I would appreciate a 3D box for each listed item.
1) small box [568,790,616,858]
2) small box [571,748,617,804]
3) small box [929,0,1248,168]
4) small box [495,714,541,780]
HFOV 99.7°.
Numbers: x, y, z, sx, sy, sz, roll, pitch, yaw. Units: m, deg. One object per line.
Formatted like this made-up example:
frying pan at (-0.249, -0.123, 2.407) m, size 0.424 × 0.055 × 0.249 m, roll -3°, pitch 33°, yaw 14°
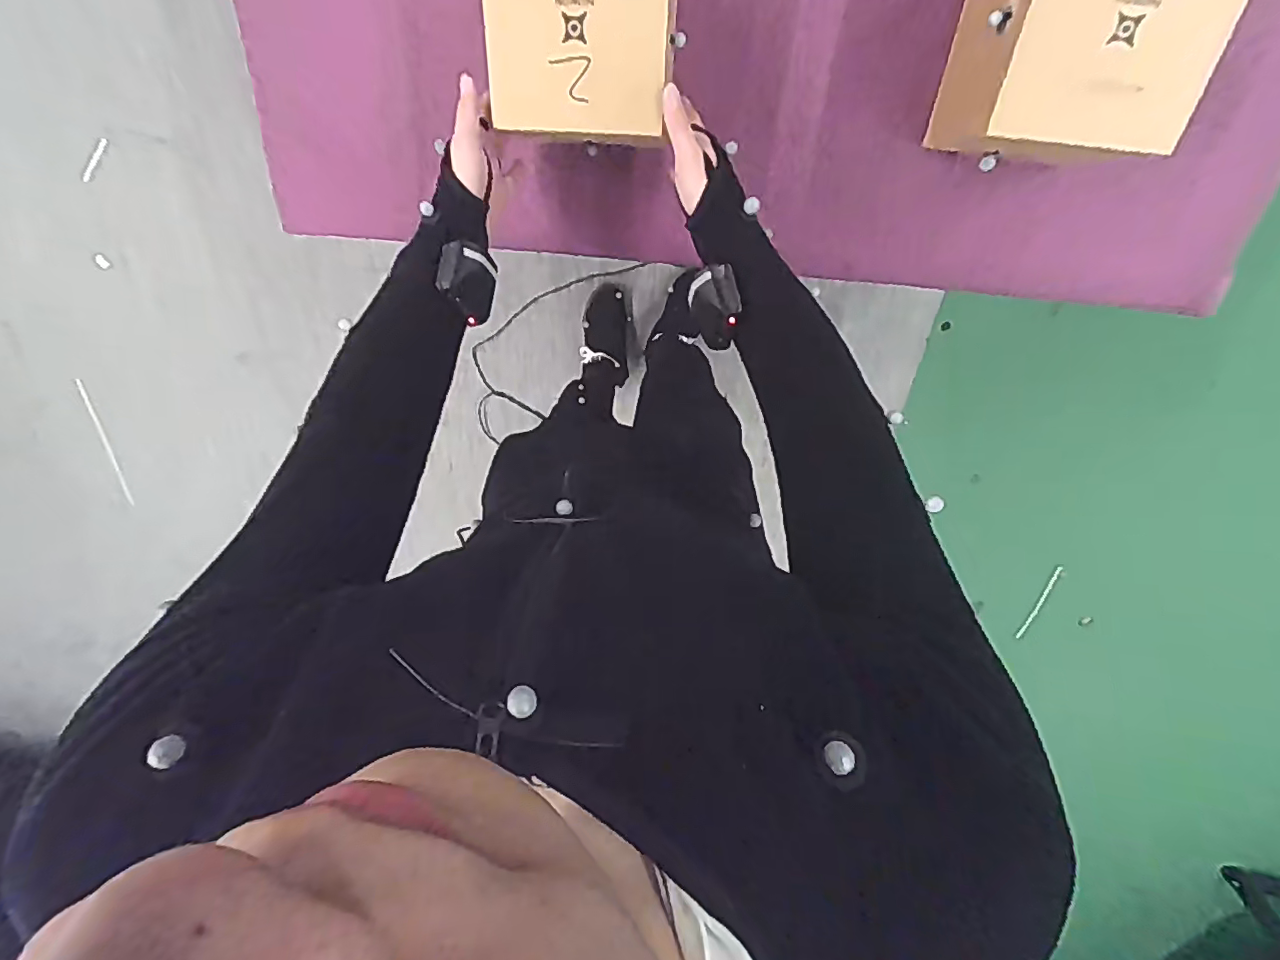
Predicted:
small box at (-0.190, 1.380, 2.177) m, size 0.168 × 0.176 × 0.179 m, roll 4°, pitch 120°, yaw 5°
small box at (-0.192, 1.286, 2.314) m, size 0.168 × 0.176 × 0.179 m, roll 2°, pitch 119°, yaw 5°
small box at (0.406, -0.409, 0.512) m, size 0.168 × 0.176 × 0.179 m, roll 9°, pitch 118°, yaw 2°
small box at (-0.514, 1.102, 2.244) m, size 0.168 × 0.176 × 0.179 m, roll 12°, pitch 119°, yaw -1°
